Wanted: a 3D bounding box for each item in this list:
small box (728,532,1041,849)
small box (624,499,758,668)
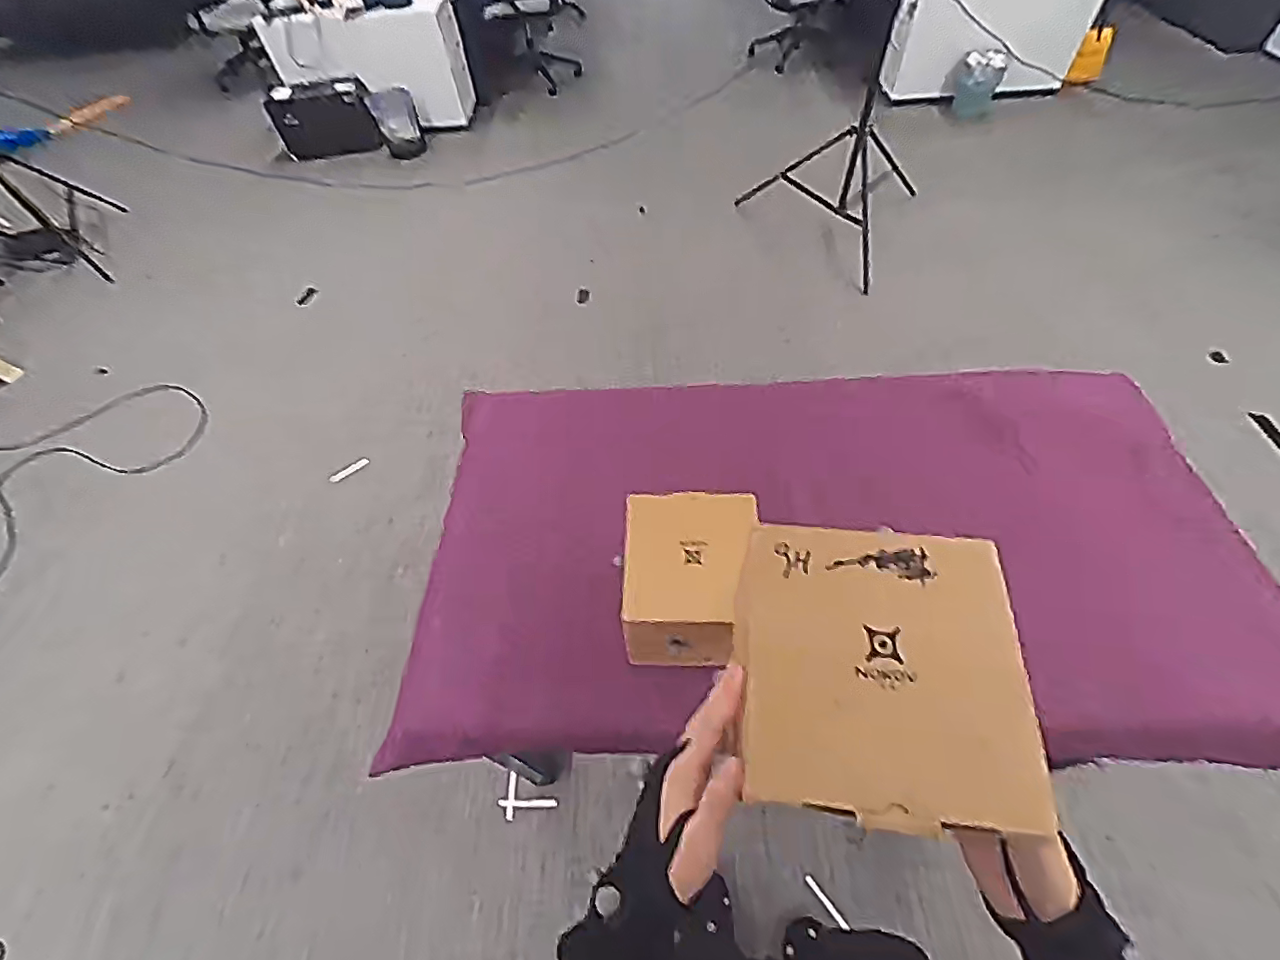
[{"bbox_3d":[0.157,0.158,0.414,0.168,0.176,0.179,4,61,8],"label":"small box"},{"bbox_3d":[0.070,0.143,0.724,0.168,0.176,0.179,0,53,3],"label":"small box"}]
